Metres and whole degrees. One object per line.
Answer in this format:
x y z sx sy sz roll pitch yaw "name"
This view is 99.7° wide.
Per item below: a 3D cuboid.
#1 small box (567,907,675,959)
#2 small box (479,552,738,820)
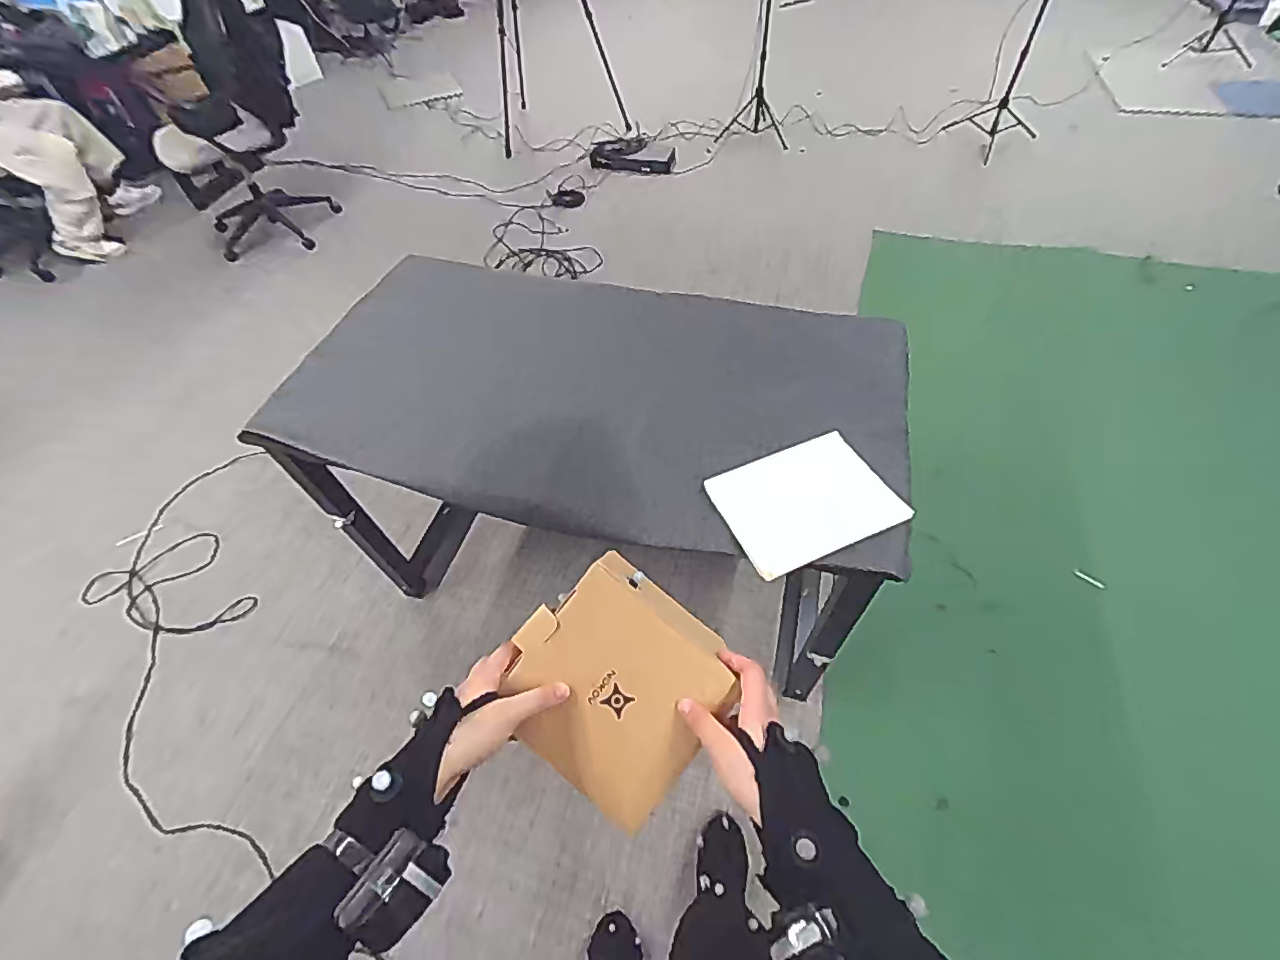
-0.033 0.948 1.000 0.176 0.168 0.179 51 43 2 "small box"
-0.024 0.188 0.559 0.179 0.176 0.168 38 89 5 "small box"
